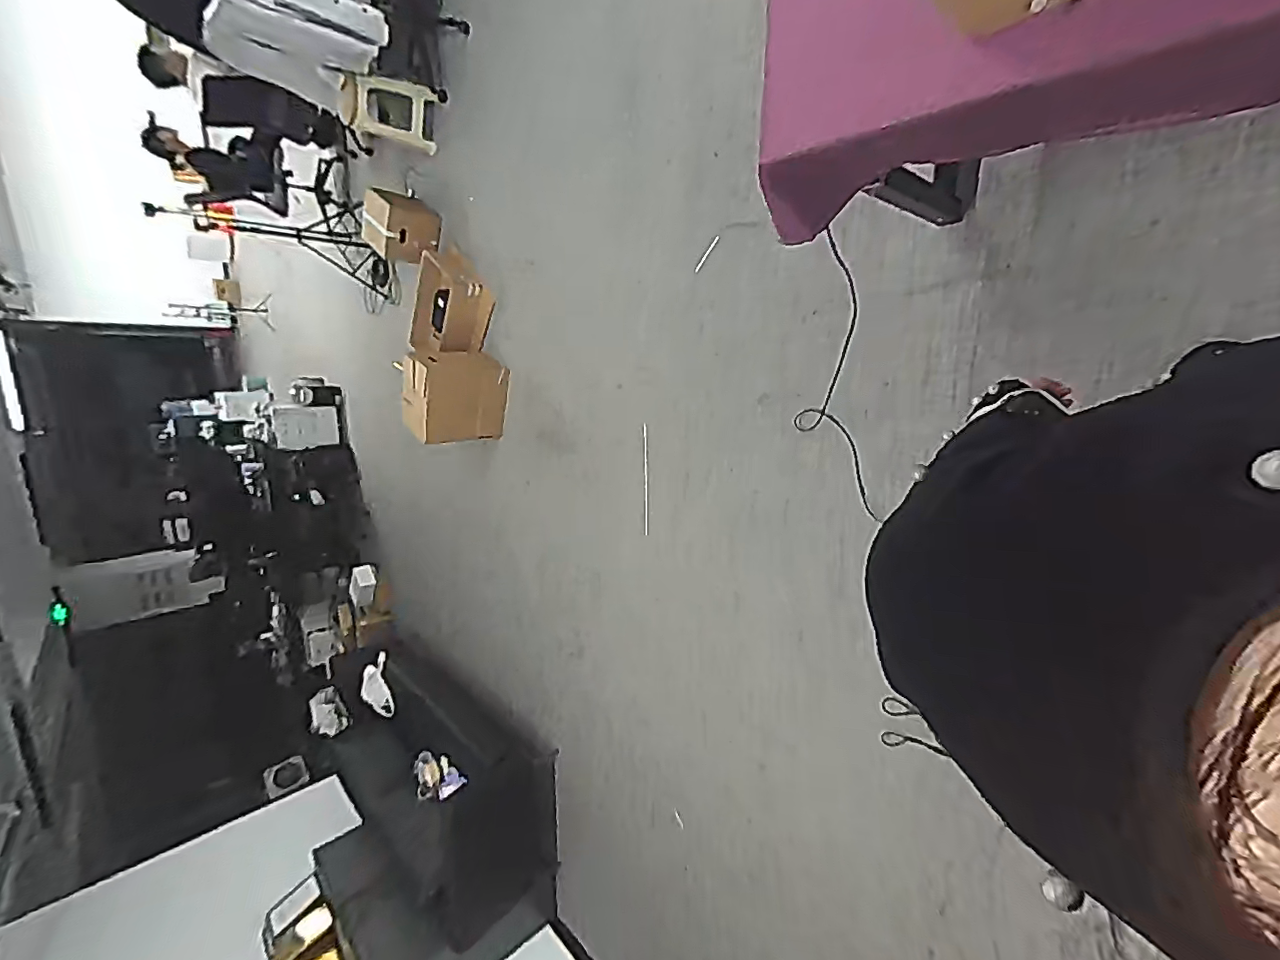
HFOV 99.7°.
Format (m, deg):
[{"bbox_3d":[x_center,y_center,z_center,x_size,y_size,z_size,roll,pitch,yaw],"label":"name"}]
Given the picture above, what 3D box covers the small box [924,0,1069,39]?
[{"bbox_3d":[0.397,-0.599,0.543,0.179,0.176,0.168,11,106,45],"label":"small box"}]
